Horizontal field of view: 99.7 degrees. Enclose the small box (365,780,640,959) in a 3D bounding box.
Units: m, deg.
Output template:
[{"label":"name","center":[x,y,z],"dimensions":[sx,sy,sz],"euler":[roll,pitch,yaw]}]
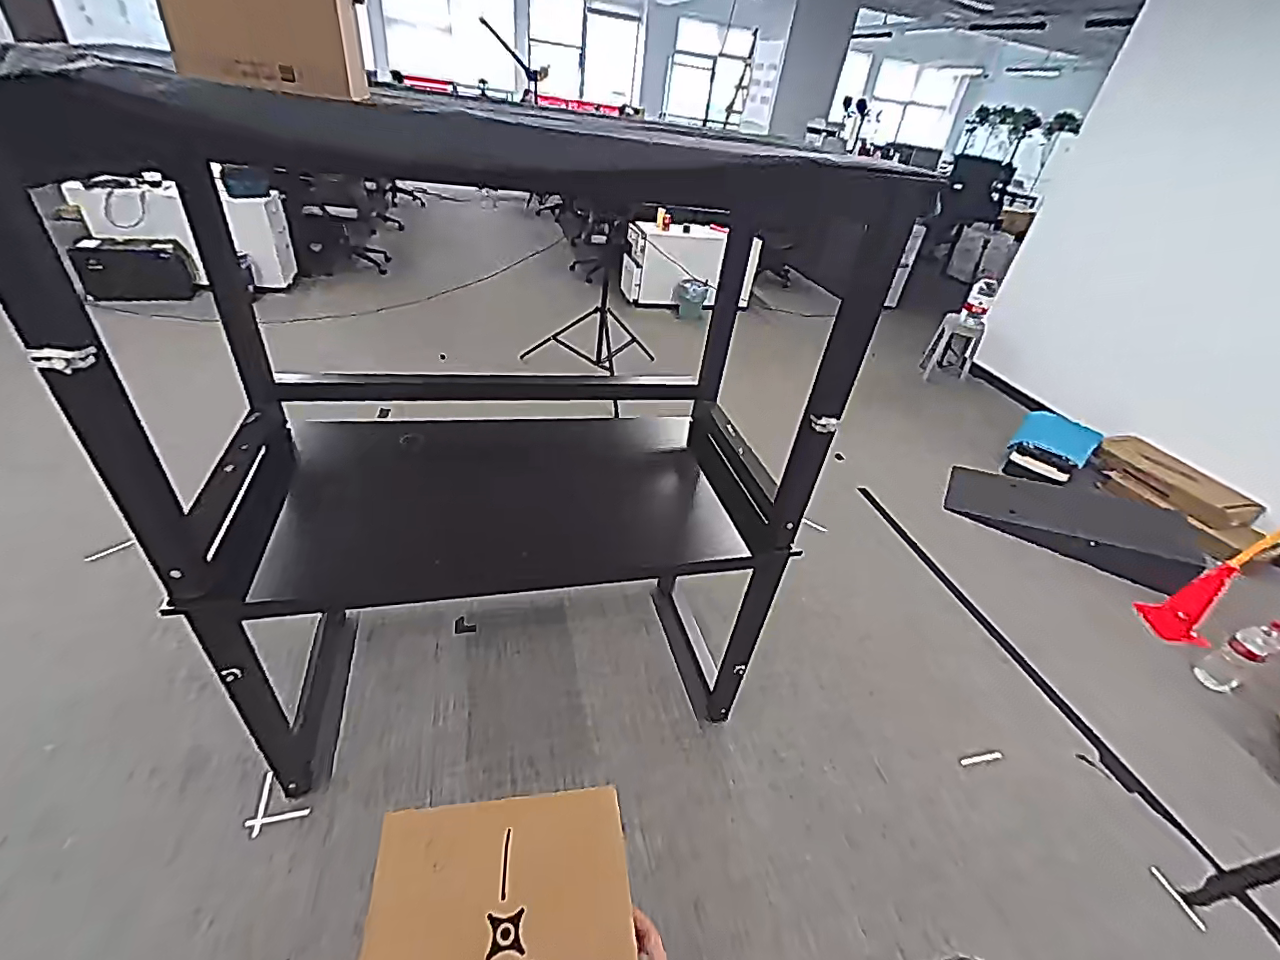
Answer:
[{"label":"small box","center":[-0.092,0.345,0.381],"dimensions":[0.168,0.176,0.179],"euler":[0,39,-13]}]
